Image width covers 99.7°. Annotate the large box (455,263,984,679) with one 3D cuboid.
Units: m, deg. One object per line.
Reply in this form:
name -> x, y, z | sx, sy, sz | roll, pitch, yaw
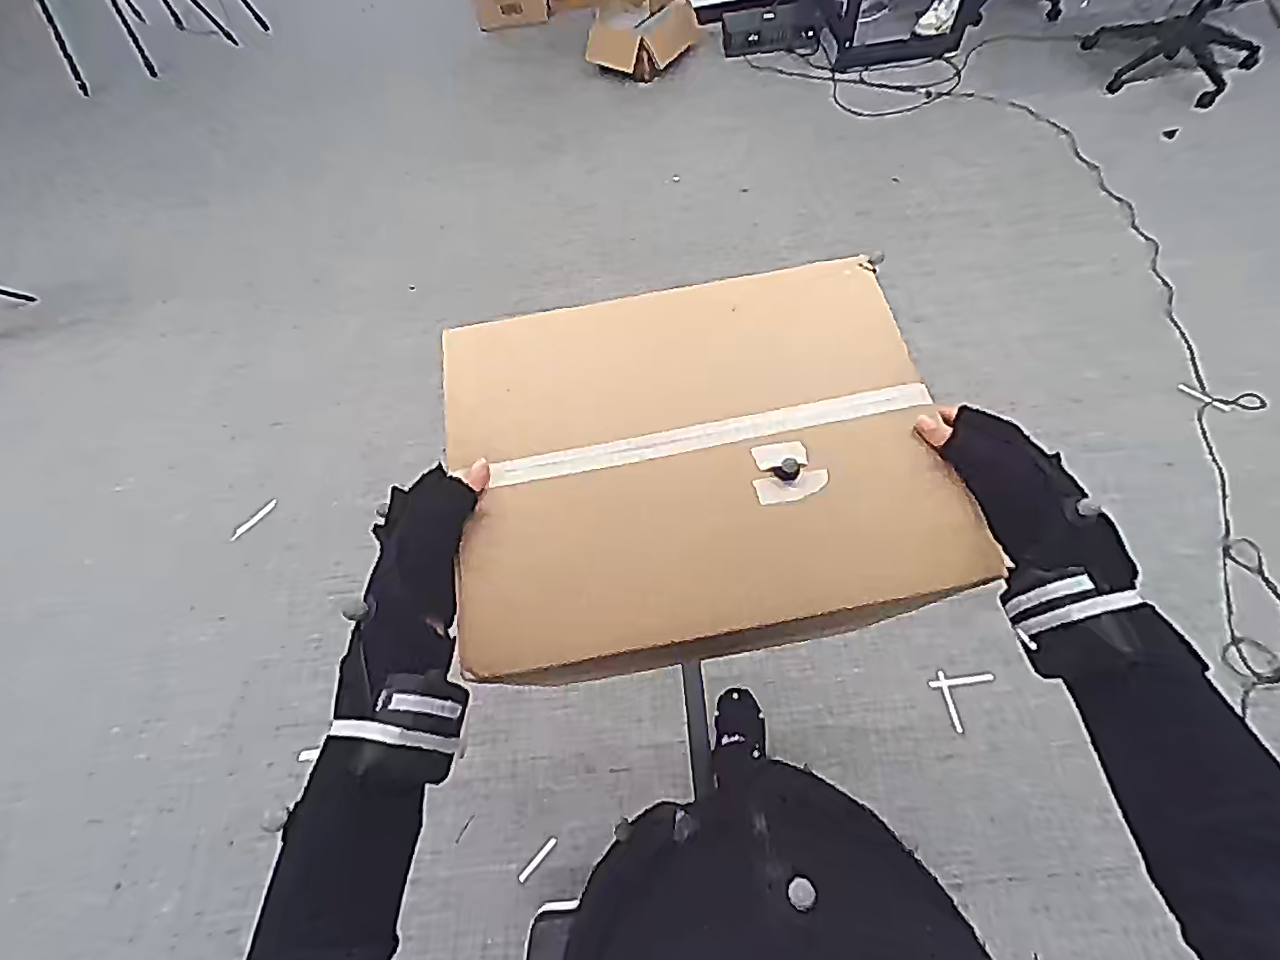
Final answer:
large box -> 0.050, 0.019, 0.602 | 0.408, 0.320, 0.320 | -11, 69, -2
